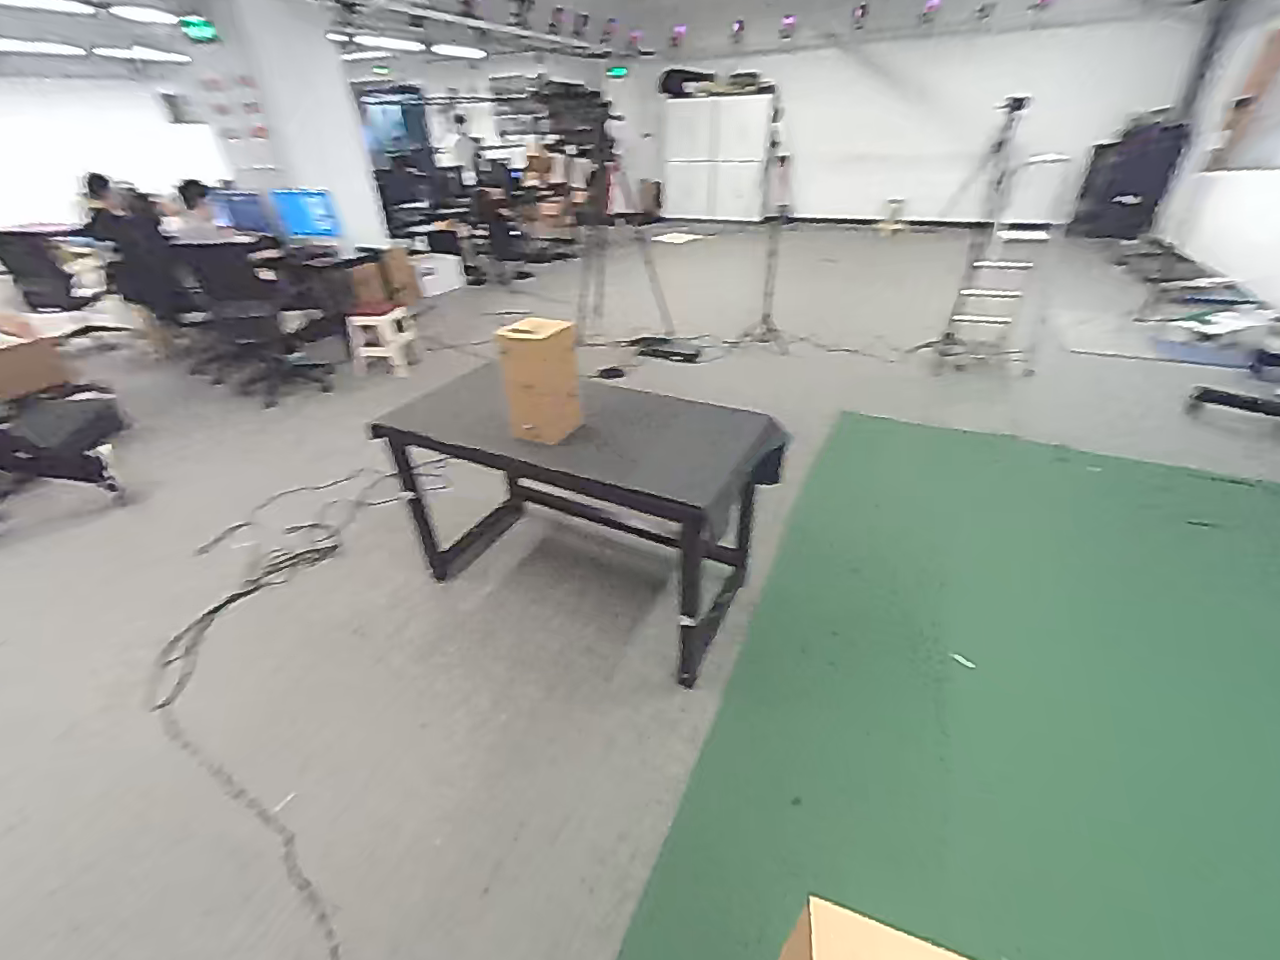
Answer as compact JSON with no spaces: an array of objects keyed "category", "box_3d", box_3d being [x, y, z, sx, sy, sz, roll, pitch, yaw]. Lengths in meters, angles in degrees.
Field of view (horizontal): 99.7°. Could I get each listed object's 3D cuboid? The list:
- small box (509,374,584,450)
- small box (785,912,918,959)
[{"category":"small box","box_3d":[-0.287,-0.218,1.706,0.168,0.176,0.179,14,35,23]},{"category":"small box","box_3d":[0.152,0.432,0.327,0.168,0.176,0.179,17,20,8]}]
